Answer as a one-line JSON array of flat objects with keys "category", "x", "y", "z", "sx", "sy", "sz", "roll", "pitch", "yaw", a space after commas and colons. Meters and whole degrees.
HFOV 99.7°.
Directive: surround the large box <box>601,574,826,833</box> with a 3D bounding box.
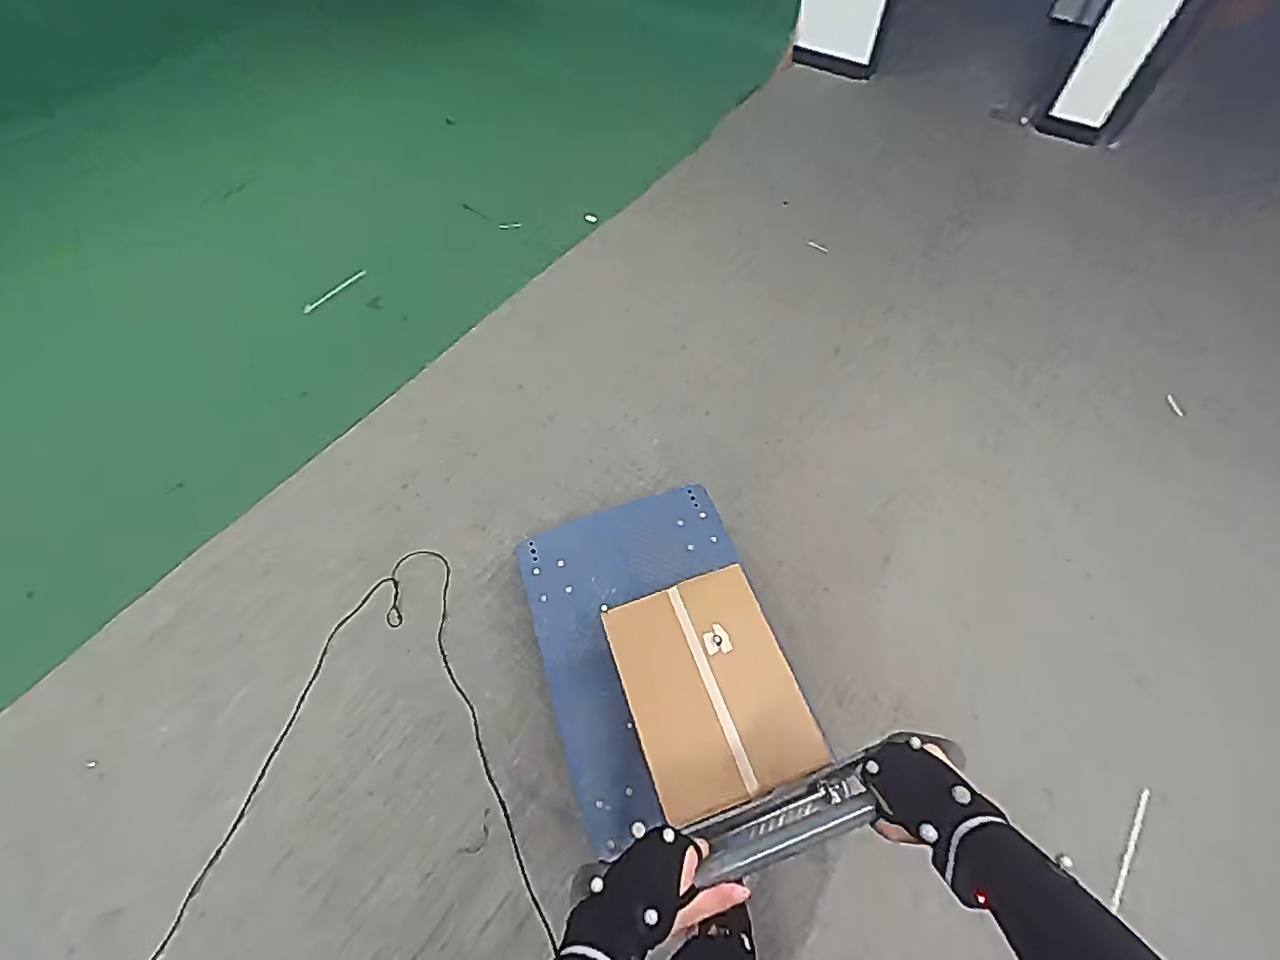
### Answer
[{"category": "large box", "x": 0.137, "y": 0.483, "z": 1.175, "sx": 0.320, "sy": 0.320, "sz": 0.408, "roll": -18, "pitch": 59, "yaw": -8}]
